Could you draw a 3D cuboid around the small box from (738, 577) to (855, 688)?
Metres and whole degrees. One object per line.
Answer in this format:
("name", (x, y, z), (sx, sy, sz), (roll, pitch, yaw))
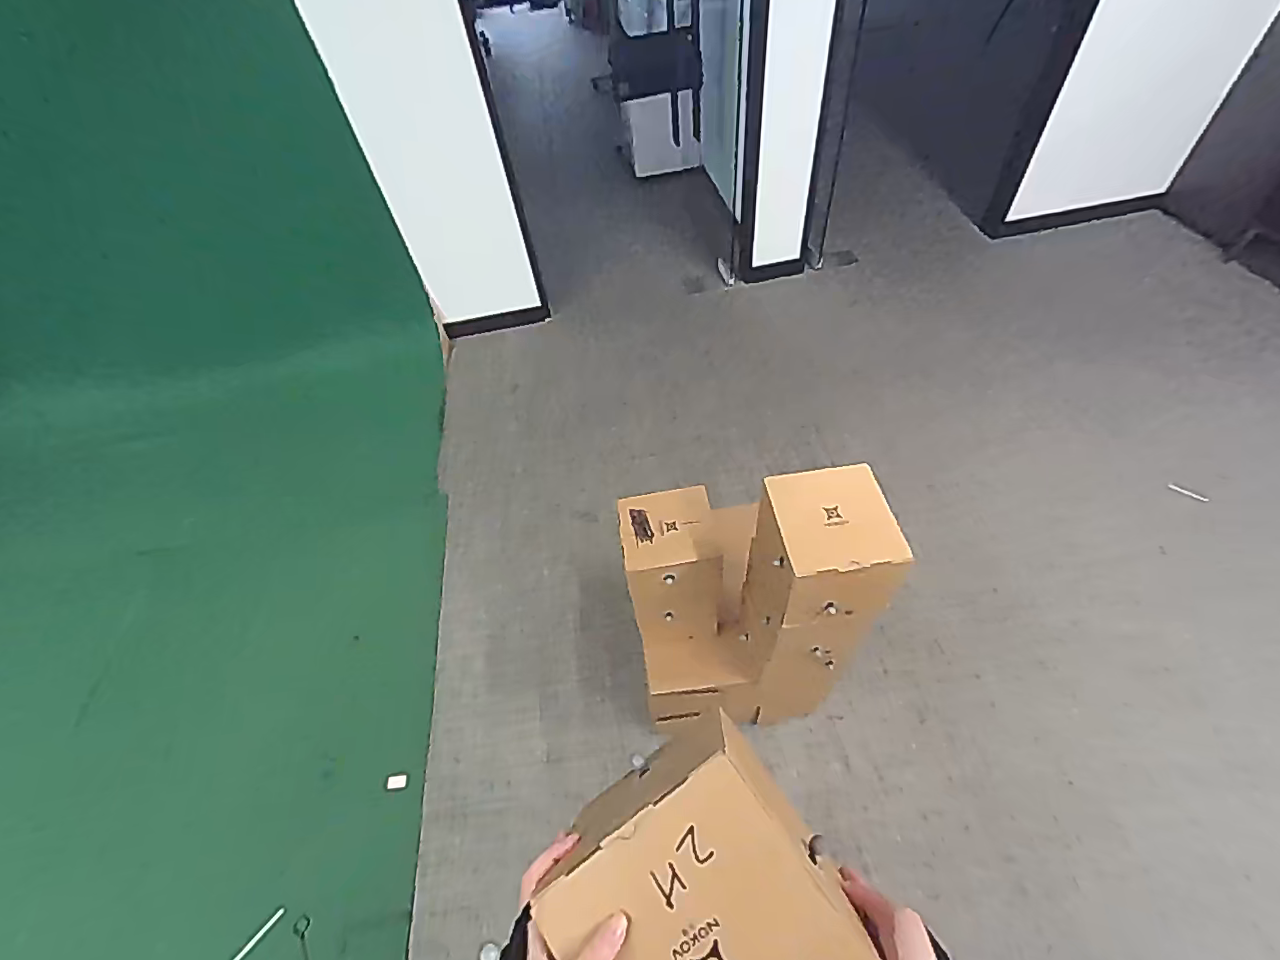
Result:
("small box", (0.306, 0.304, 1.099), (0.179, 0.176, 0.168), (-10, 50, -1))

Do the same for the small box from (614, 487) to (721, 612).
("small box", (0.055, 0.140, 1.050), (0.179, 0.176, 0.168), (-11, 50, 0))

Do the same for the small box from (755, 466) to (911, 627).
("small box", (0.282, 0.105, 0.841), (0.168, 0.176, 0.179), (-8, 51, 0))

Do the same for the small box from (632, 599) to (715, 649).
("small box", (0.066, 0.244, 1.180), (0.168, 0.176, 0.179), (-9, 49, 0))
